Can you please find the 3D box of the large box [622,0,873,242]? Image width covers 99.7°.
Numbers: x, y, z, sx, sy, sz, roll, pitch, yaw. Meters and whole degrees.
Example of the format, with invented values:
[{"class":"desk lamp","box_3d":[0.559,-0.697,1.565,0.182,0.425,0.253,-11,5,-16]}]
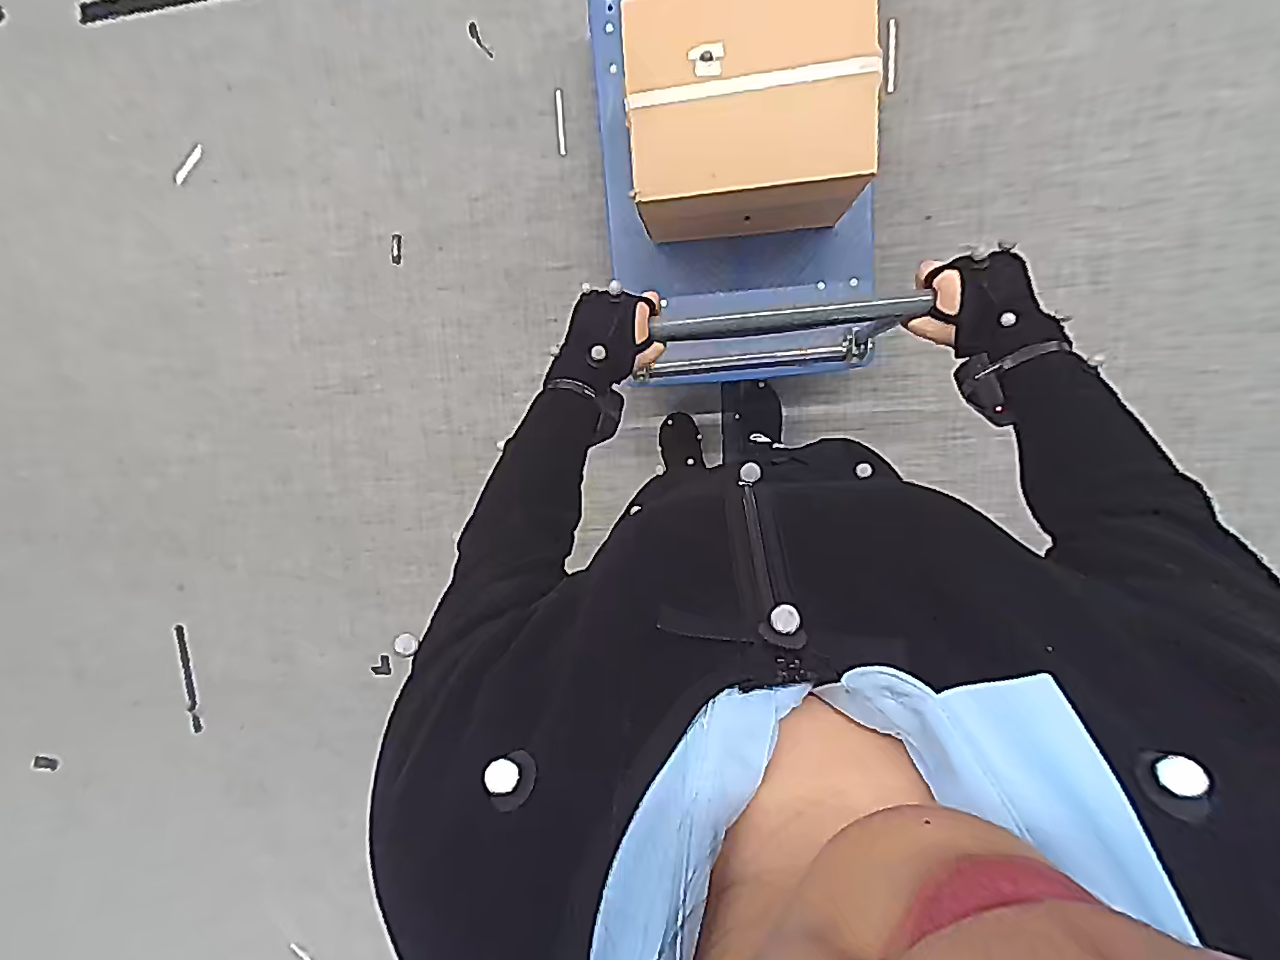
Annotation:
[{"class":"large box","box_3d":[0.200,-0.677,1.044,0.408,0.320,0.320,-3,99,9]}]
